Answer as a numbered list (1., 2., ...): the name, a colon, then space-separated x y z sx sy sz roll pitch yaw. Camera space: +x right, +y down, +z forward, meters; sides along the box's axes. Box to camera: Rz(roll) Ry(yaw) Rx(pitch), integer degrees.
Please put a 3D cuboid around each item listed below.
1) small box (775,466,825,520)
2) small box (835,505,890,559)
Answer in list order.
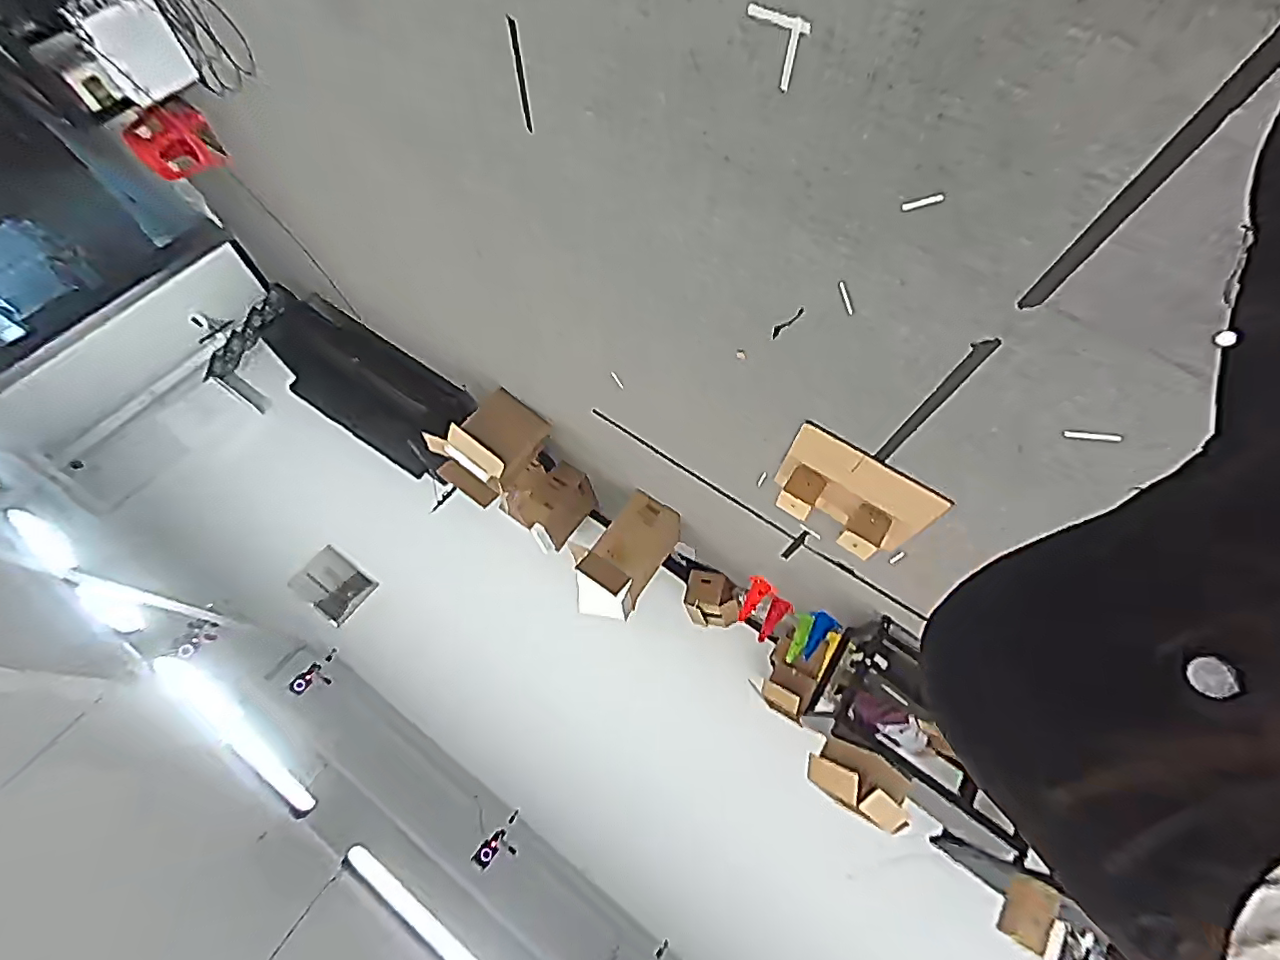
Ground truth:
1. small box: 0.805 0.065 2.709 0.168 0.176 0.179 31 157 18
2. small box: 1.081 0.252 2.625 0.168 0.176 0.179 32 157 14
